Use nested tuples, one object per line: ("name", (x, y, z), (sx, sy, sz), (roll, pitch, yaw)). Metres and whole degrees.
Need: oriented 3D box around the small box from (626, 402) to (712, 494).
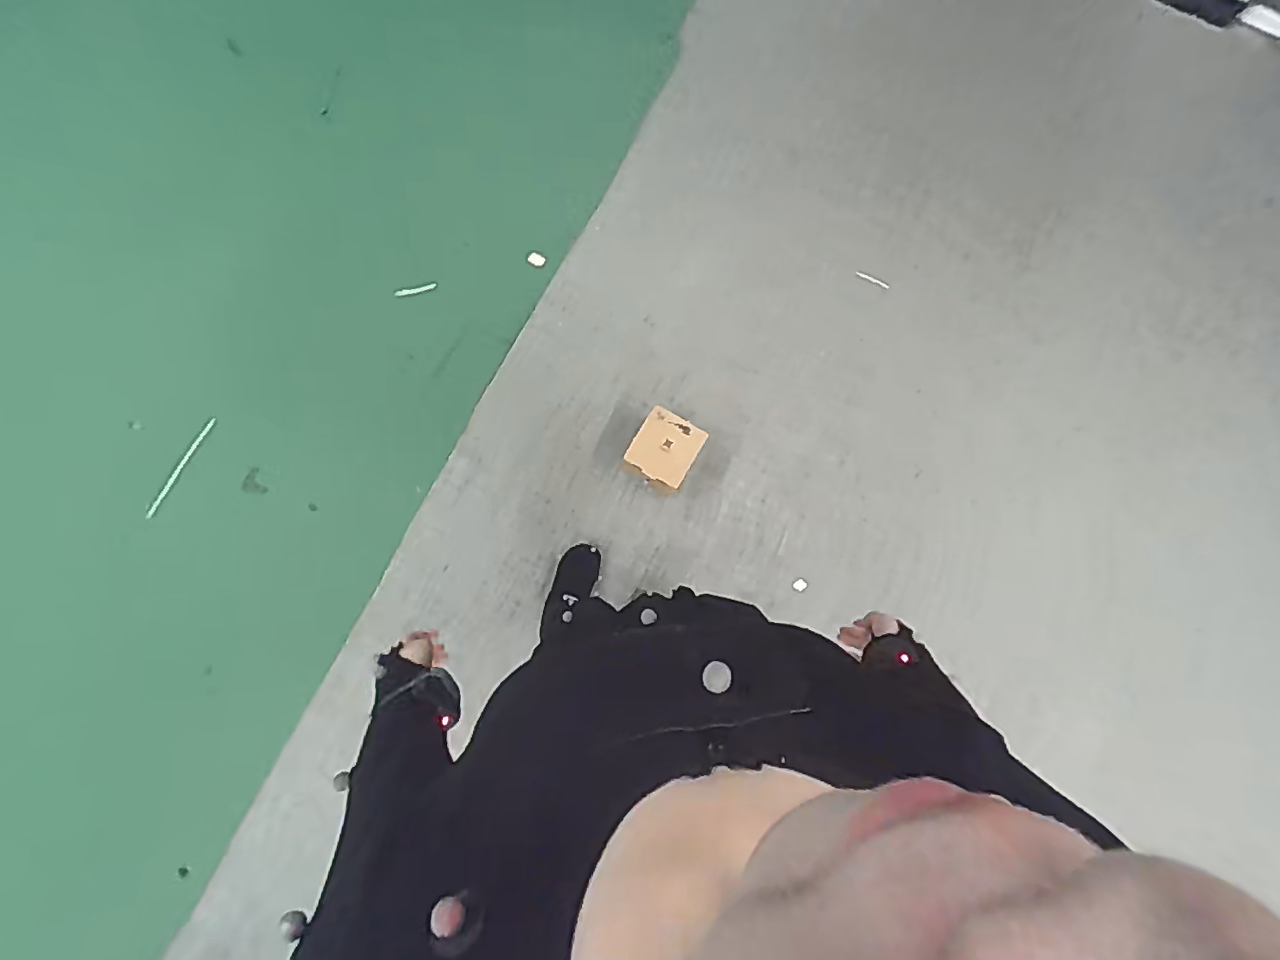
("small box", (0.077, -0.078, 1.473), (0.168, 0.176, 0.179), (31, 82, 4))
